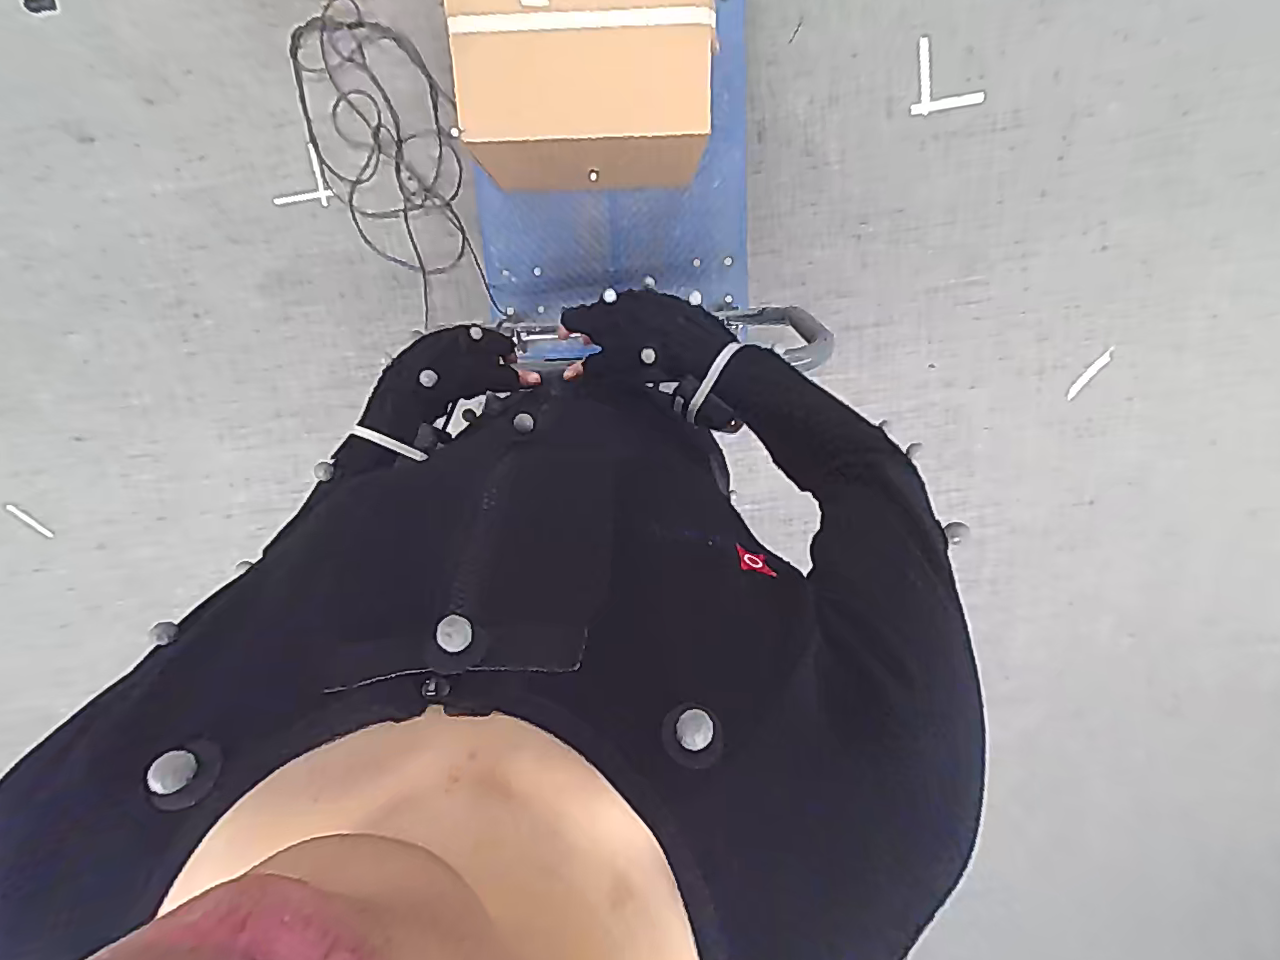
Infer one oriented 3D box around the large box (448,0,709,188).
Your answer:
[{"bbox_3d":[-0.093,-0.739,0.976,0.408,0.320,0.320,-2,104,0],"label":"large box"}]
